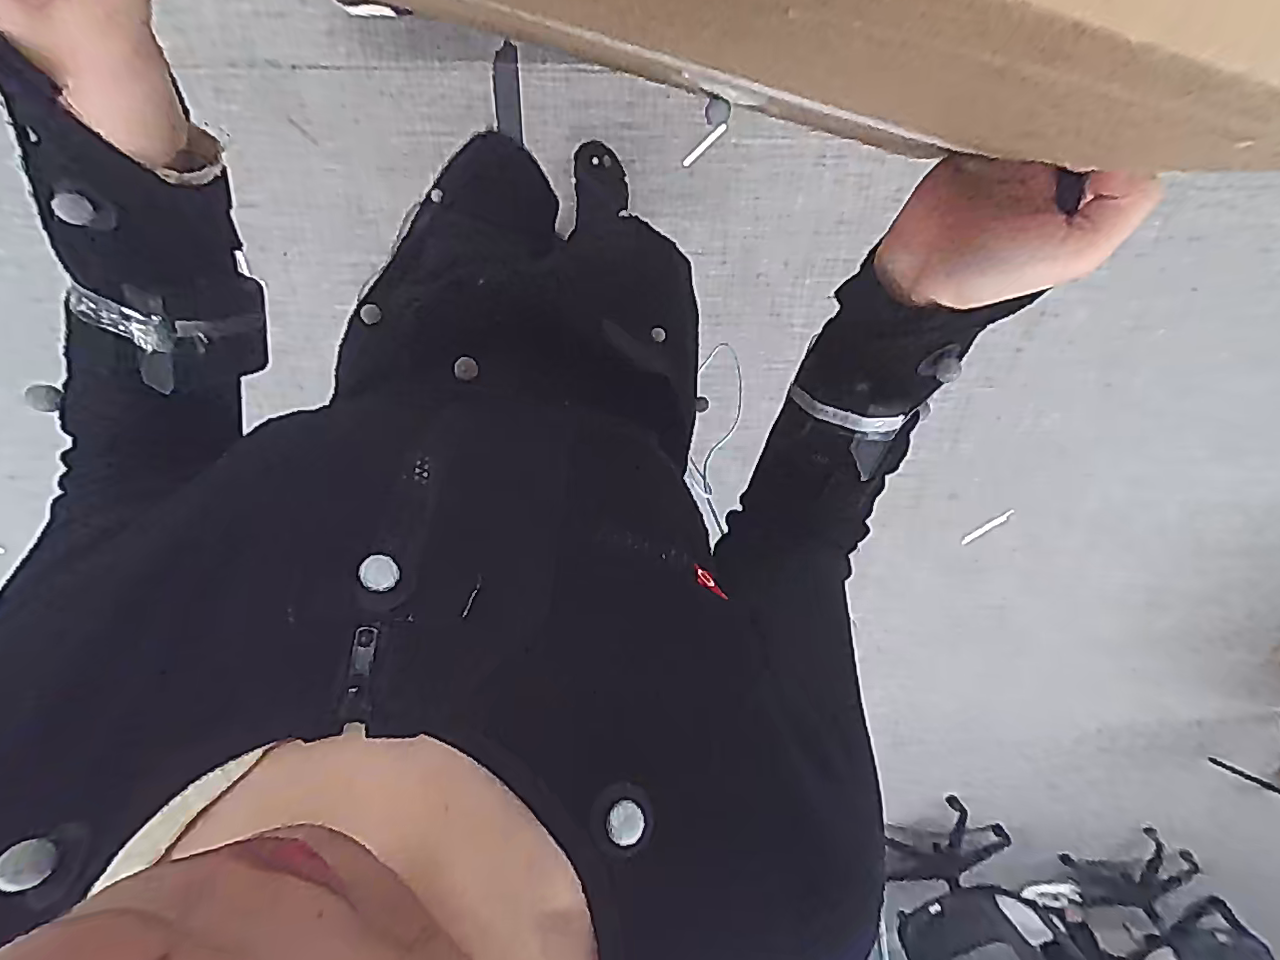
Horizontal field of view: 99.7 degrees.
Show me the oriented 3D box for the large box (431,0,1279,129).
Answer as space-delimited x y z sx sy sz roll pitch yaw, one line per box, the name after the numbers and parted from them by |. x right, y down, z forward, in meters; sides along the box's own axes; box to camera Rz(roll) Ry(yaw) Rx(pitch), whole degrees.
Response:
-0.003 -0.313 0.124 0.408 0.320 0.320 11 123 -5 | large box
